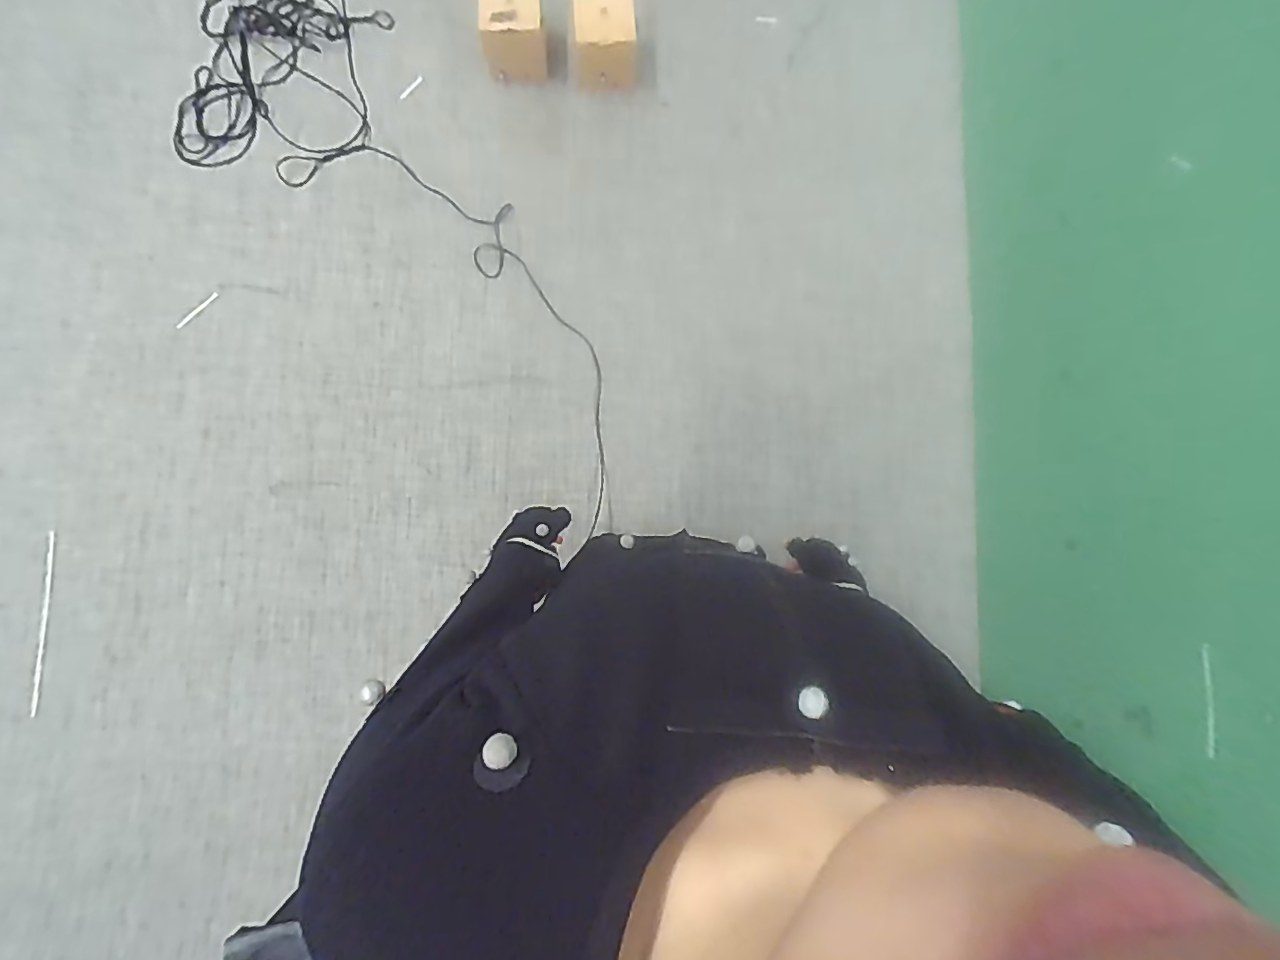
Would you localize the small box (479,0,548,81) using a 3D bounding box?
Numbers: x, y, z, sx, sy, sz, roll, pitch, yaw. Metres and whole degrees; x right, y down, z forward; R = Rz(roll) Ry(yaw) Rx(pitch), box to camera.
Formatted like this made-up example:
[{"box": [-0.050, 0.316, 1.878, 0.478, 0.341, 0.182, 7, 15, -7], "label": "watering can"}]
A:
[{"box": [-0.353, -1.272, 1.530, 0.168, 0.176, 0.179, -1, 84, -2], "label": "small box"}]

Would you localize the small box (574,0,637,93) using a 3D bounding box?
[{"box": [-0.099, -1.249, 1.540, 0.168, 0.176, 0.179, -4, 86, -2], "label": "small box"}]
